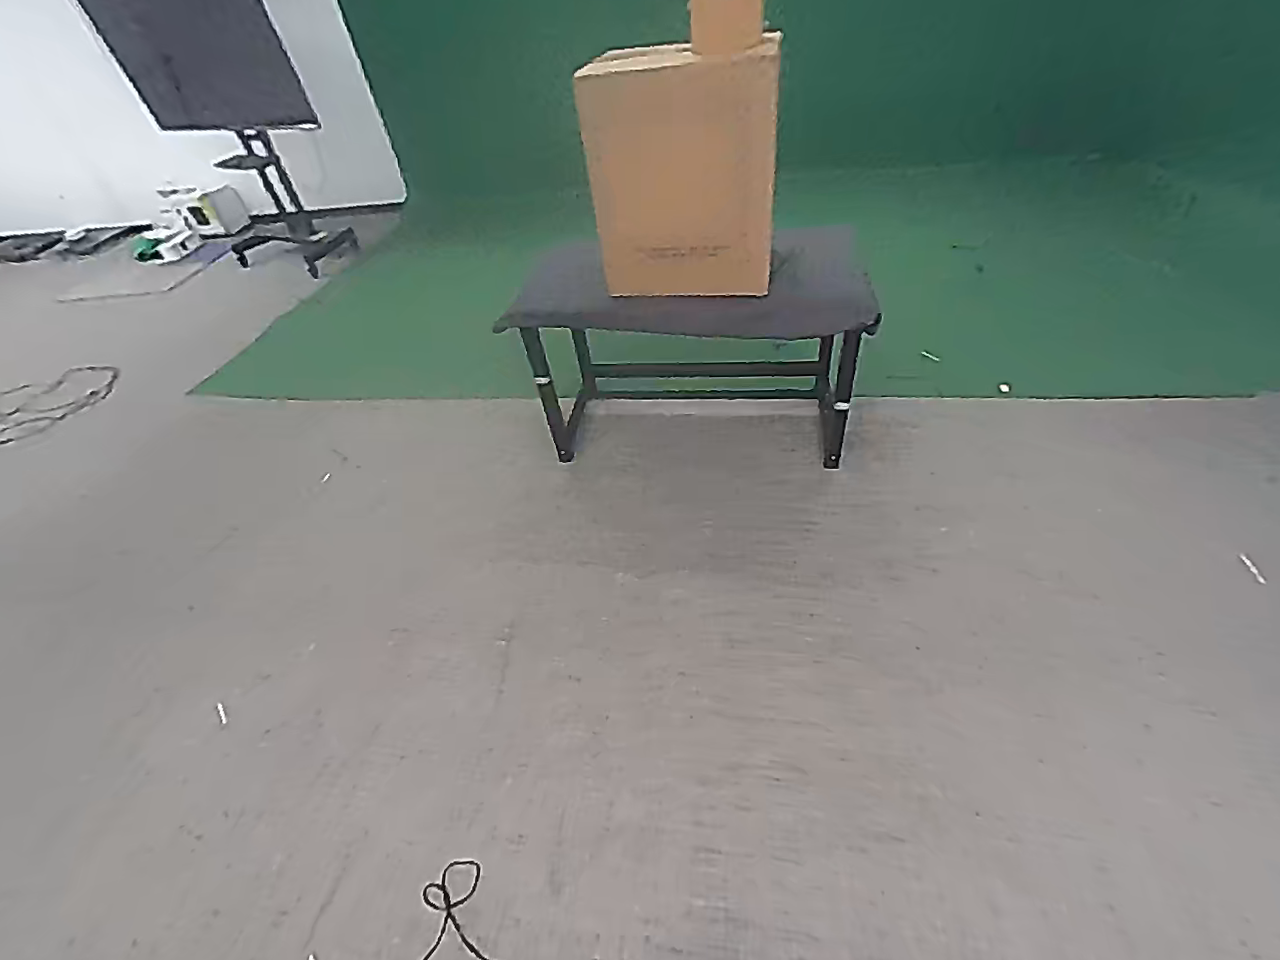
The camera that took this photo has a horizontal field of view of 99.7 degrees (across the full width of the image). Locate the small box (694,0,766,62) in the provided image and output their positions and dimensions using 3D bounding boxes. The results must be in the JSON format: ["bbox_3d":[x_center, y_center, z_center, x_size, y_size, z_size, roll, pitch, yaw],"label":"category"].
[{"bbox_3d":[0.235,-1.213,1.410,0.179,0.176,0.168,5,49,11],"label":"small box"}]
